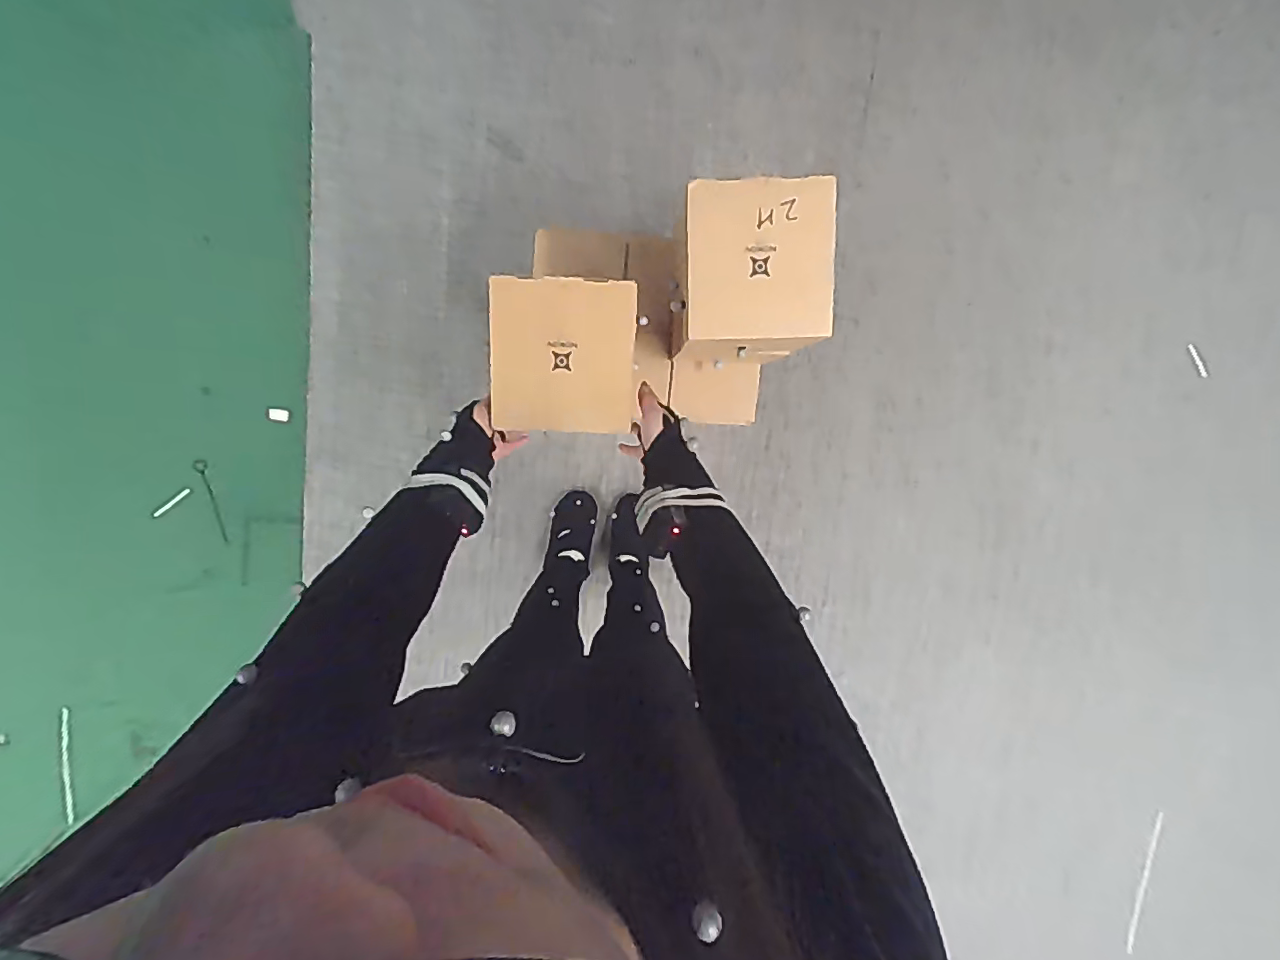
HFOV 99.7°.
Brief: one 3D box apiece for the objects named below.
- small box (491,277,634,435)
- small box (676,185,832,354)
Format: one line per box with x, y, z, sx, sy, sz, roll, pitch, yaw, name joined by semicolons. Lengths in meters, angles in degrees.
-0.093;-0.158;0.710;0.168;0.176;0.179;2;101;-2;small box
0.135;-0.256;0.696;0.168;0.176;0.179;0;98;1;small box
